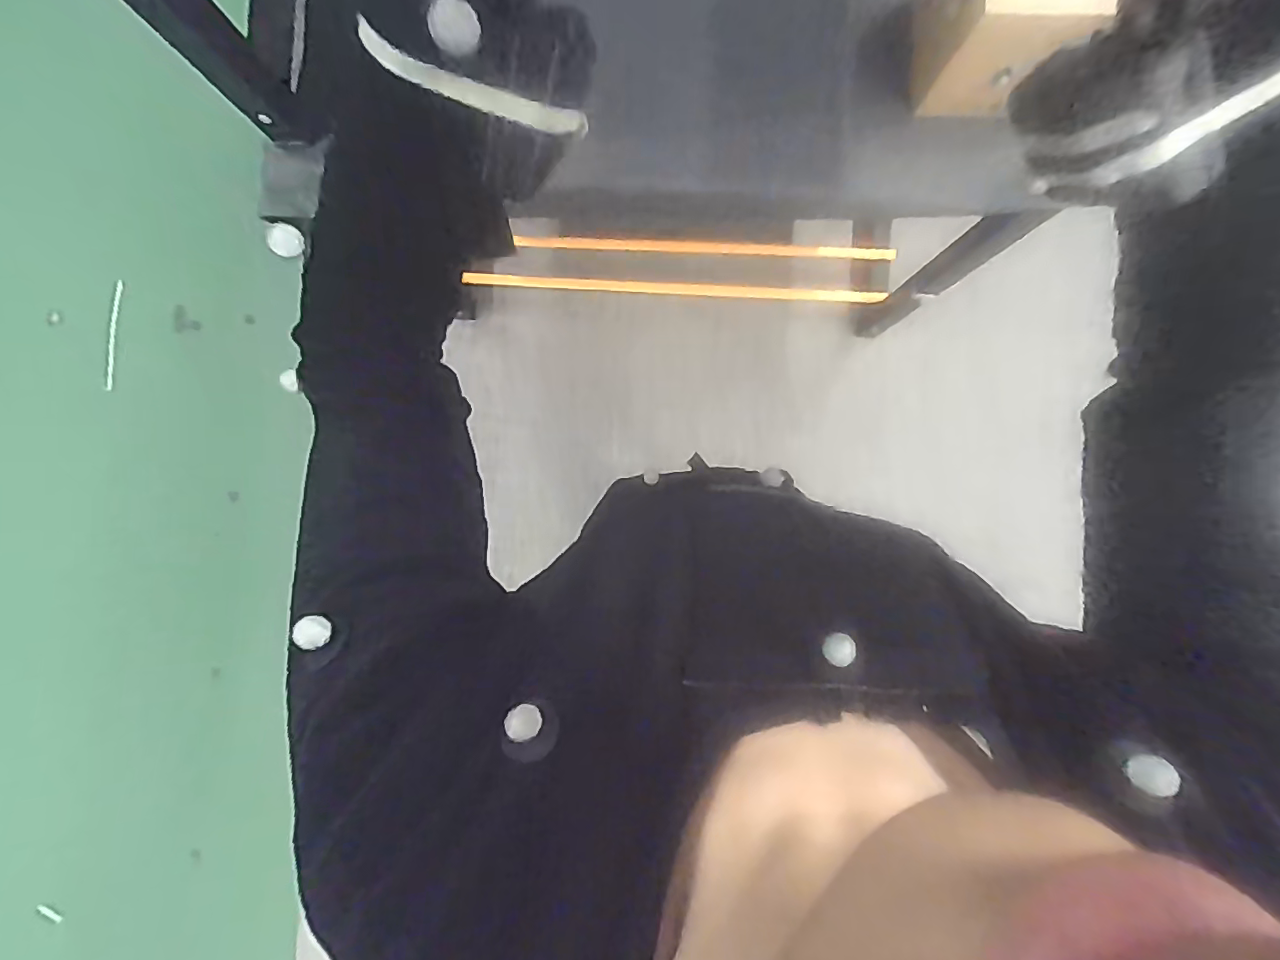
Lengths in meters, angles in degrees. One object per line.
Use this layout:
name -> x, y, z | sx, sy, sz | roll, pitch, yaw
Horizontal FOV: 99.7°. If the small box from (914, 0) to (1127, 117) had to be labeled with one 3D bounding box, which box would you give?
small box -> 0.474, -0.605, 0.697 | 0.168, 0.176, 0.179 | 1, 87, 1
